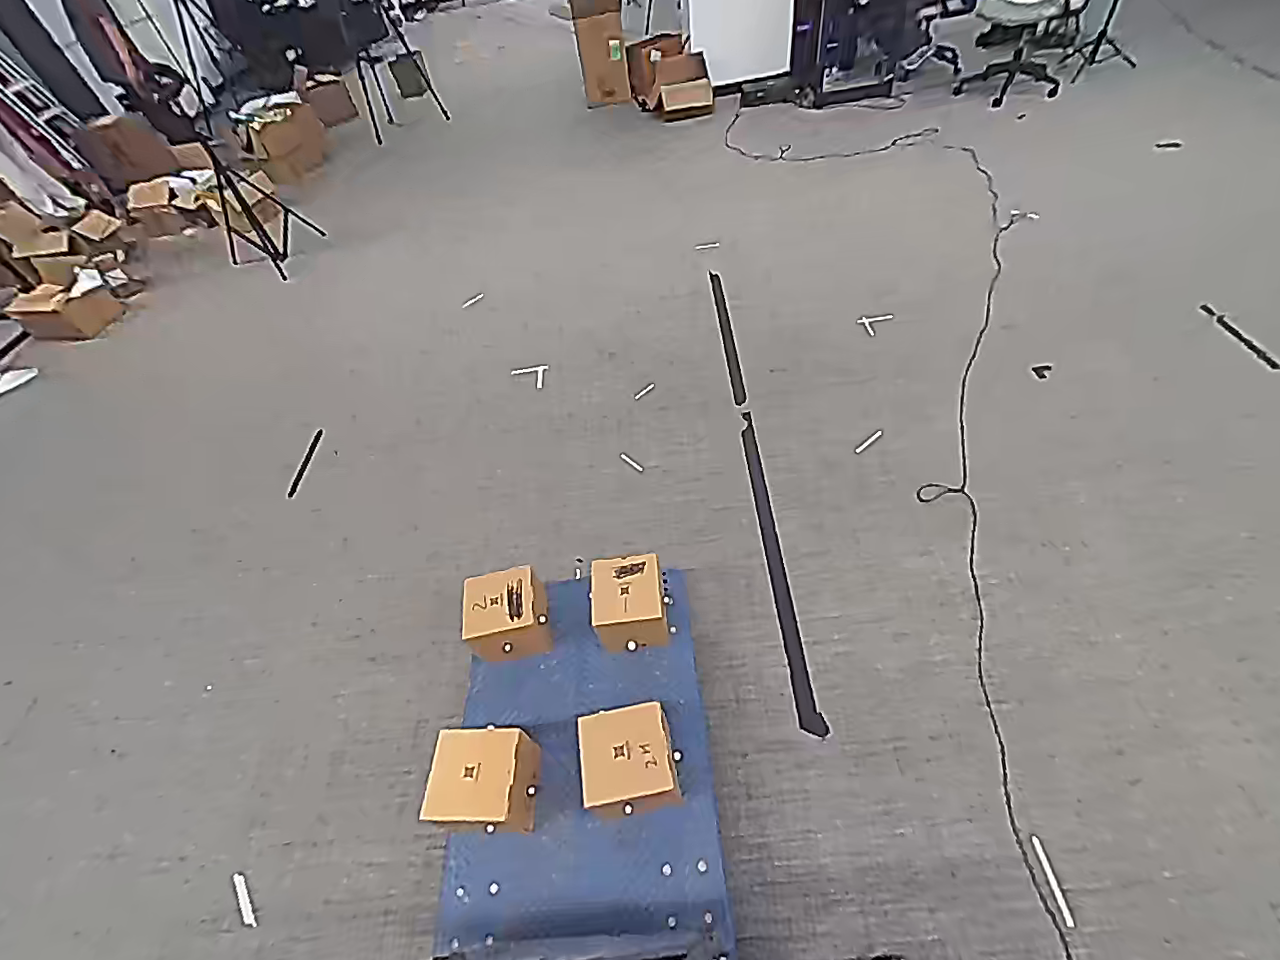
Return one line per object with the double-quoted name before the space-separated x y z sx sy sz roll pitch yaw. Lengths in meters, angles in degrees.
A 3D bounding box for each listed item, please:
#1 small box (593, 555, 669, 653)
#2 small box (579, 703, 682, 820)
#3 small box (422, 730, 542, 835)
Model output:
"small box" -0.021 0.311 1.349 0.168 0.176 0.179 -8 51 4
"small box" -0.018 0.587 1.118 0.179 0.176 0.168 -12 50 1
"small box" -0.321 0.637 1.135 0.179 0.176 0.168 -4 49 6
